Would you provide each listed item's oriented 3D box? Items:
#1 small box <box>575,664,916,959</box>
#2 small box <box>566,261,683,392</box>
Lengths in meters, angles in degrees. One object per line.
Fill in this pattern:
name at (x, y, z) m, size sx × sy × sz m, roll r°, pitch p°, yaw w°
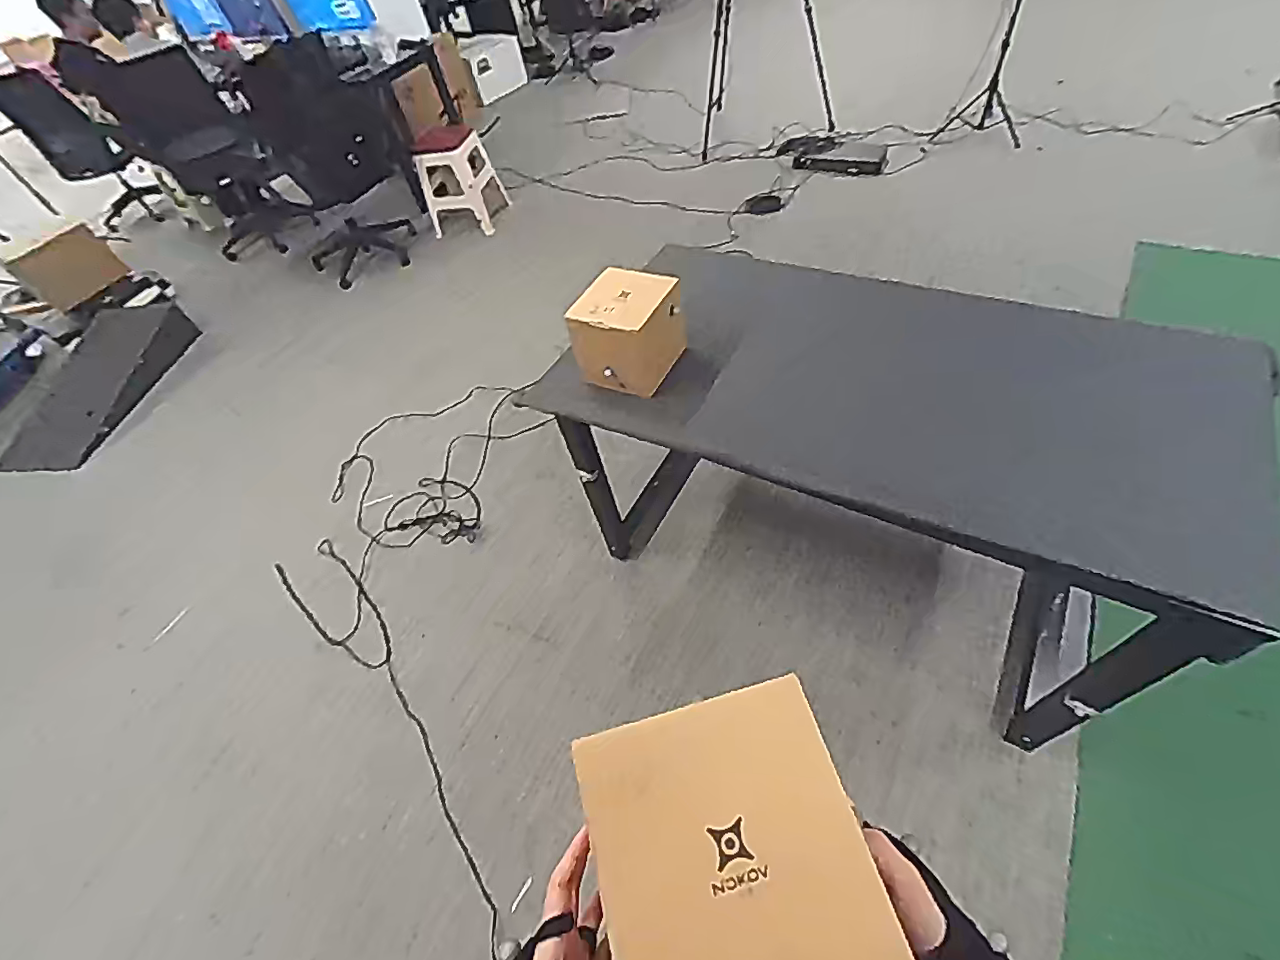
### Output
small box at (0.050, 0.259, 0.396) m, size 0.168 × 0.176 × 0.179 m, roll -12°, pitch 60°, yaw -11°
small box at (-0.021, -0.310, 1.094) m, size 0.168 × 0.176 × 0.179 m, roll 19°, pitch 58°, yaw 23°
